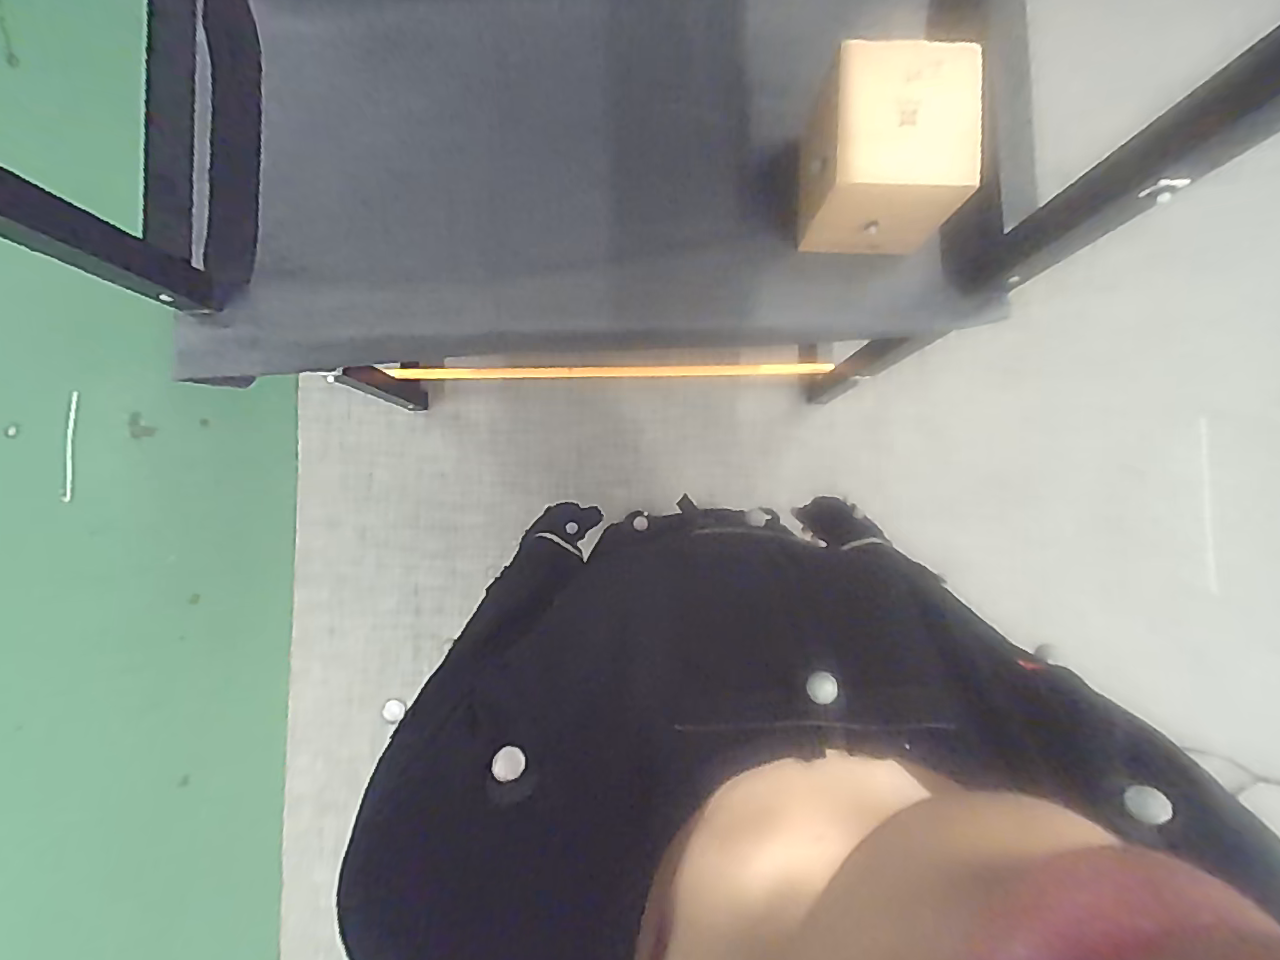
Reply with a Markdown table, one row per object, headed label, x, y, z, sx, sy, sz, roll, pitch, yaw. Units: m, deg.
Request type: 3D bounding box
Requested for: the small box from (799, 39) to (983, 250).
| label | x | y | z | sx | sy | sz | roll | pitch | yaw |
| --- | --- | --- | --- | --- | --- | --- | --- | --- | --- |
| small box | 0.313 | -0.420 | 0.704 | 0.168 | 0.176 | 0.179 | 3 | 87 | 1 |
